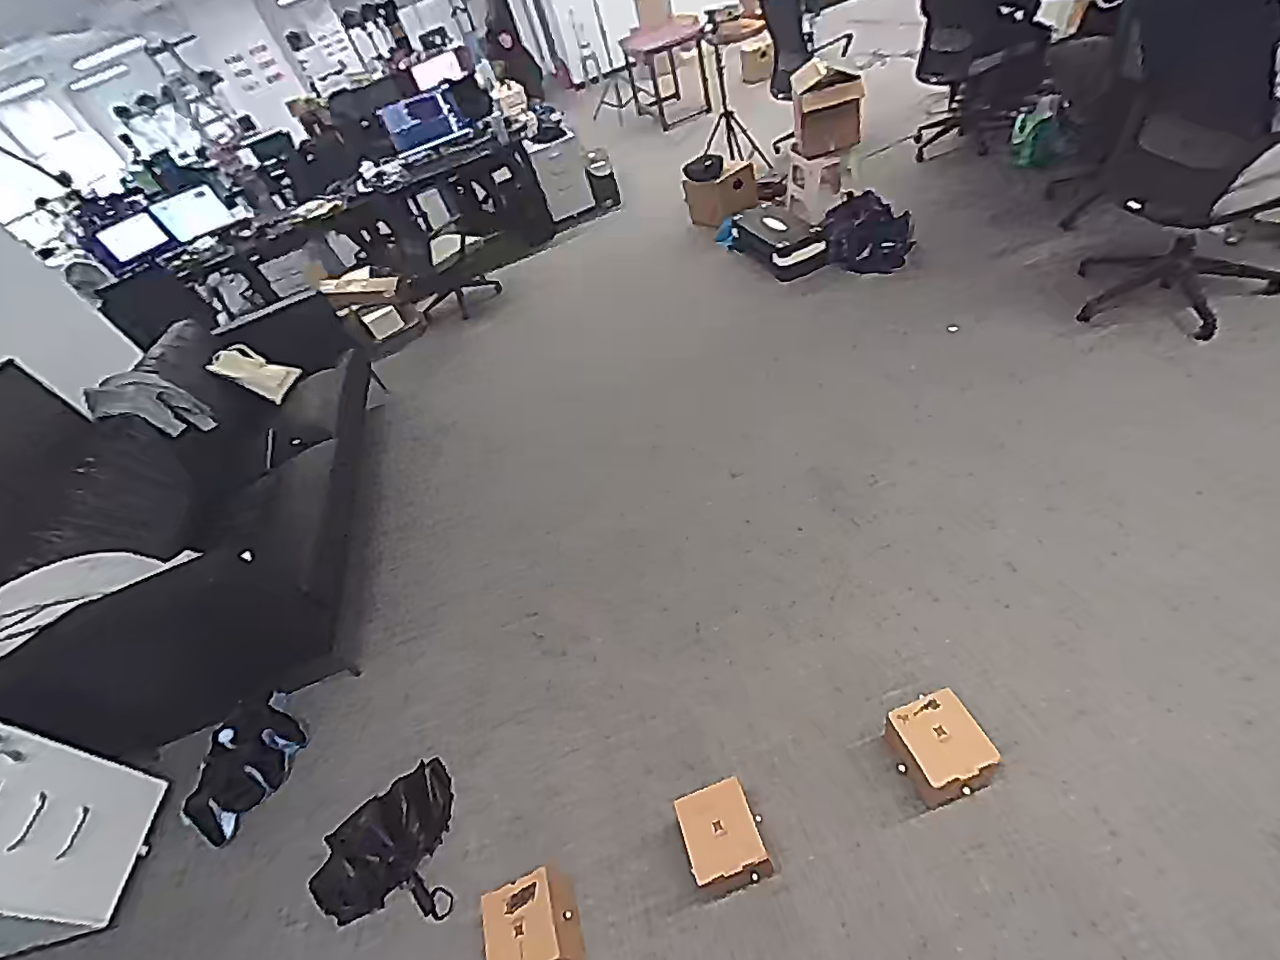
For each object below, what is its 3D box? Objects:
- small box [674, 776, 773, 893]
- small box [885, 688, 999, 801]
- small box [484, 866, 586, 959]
[{"bbox_3d":[0.200,0.845,1.280,0.168,0.176,0.179,-22,41,-2],"label":"small box"},{"bbox_3d":[0.705,0.634,1.282,0.168,0.176,0.179,-23,43,0],"label":"small box"},{"bbox_3d":[-0.243,1.043,1.255,0.168,0.176,0.179,-25,44,-2],"label":"small box"}]
